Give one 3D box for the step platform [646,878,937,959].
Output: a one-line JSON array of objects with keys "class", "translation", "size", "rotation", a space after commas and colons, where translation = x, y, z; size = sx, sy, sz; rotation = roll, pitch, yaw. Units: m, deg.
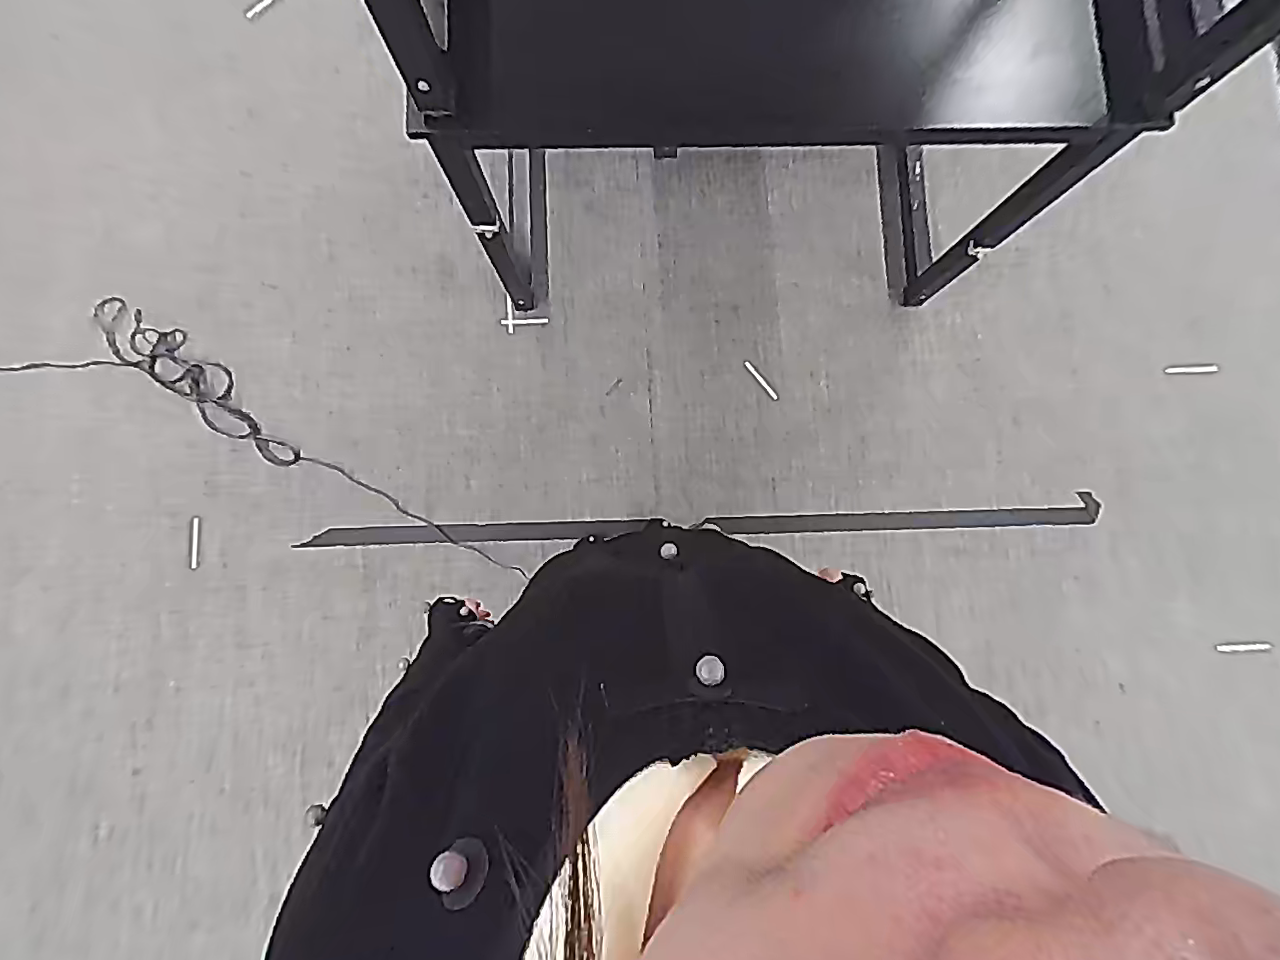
[{"class": "step platform", "translation": [0.360, 1.196, 1.319], "size": [0.684, 0.204, 0.286], "rotation": [4, 85, -2]}]
